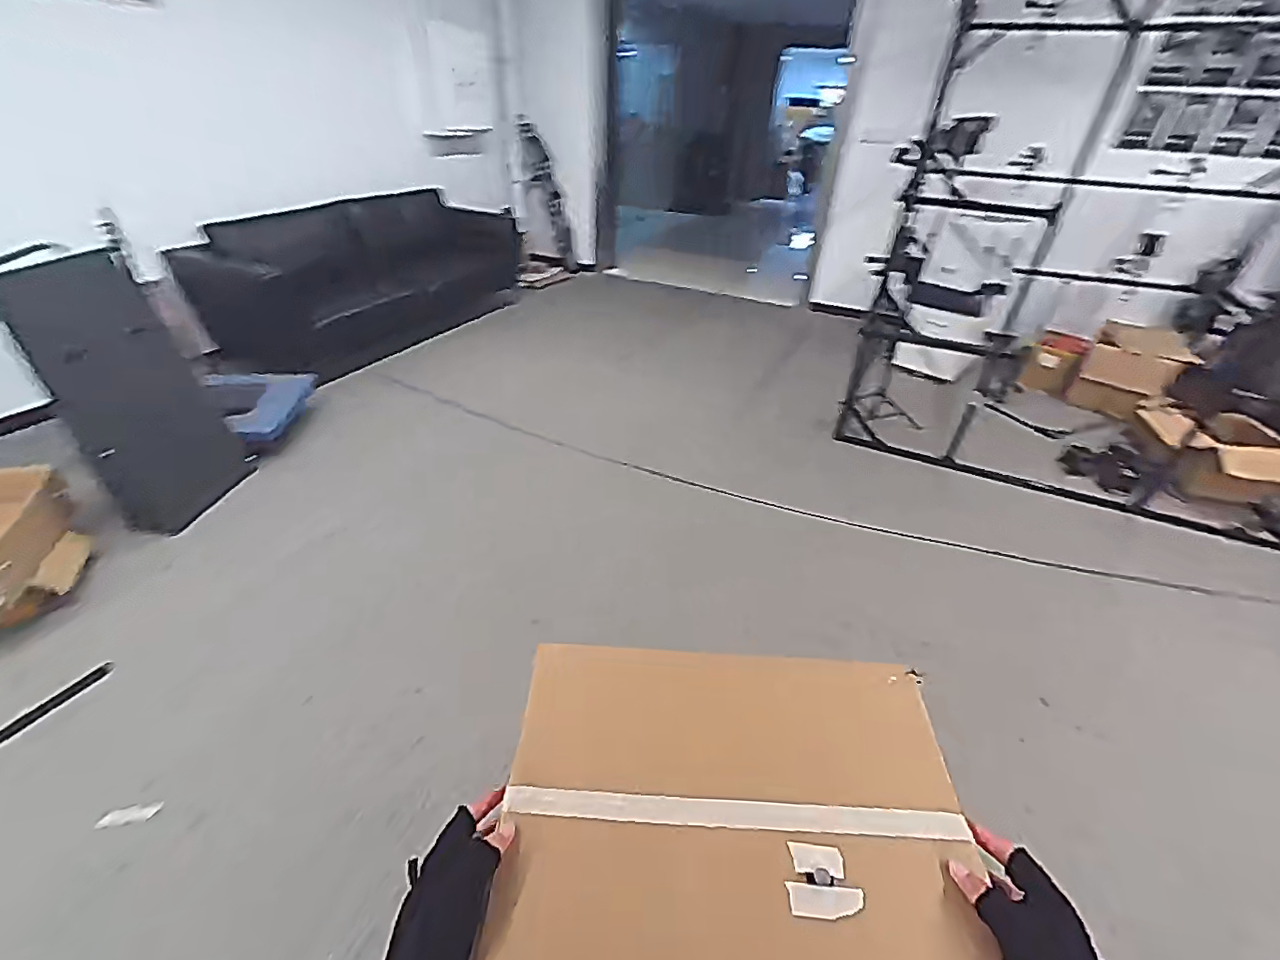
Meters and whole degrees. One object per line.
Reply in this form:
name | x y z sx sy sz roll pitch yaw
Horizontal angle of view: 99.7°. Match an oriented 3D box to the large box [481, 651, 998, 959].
large box | 0.076 0.410 0.585 0.408 0.320 0.320 2 42 1
